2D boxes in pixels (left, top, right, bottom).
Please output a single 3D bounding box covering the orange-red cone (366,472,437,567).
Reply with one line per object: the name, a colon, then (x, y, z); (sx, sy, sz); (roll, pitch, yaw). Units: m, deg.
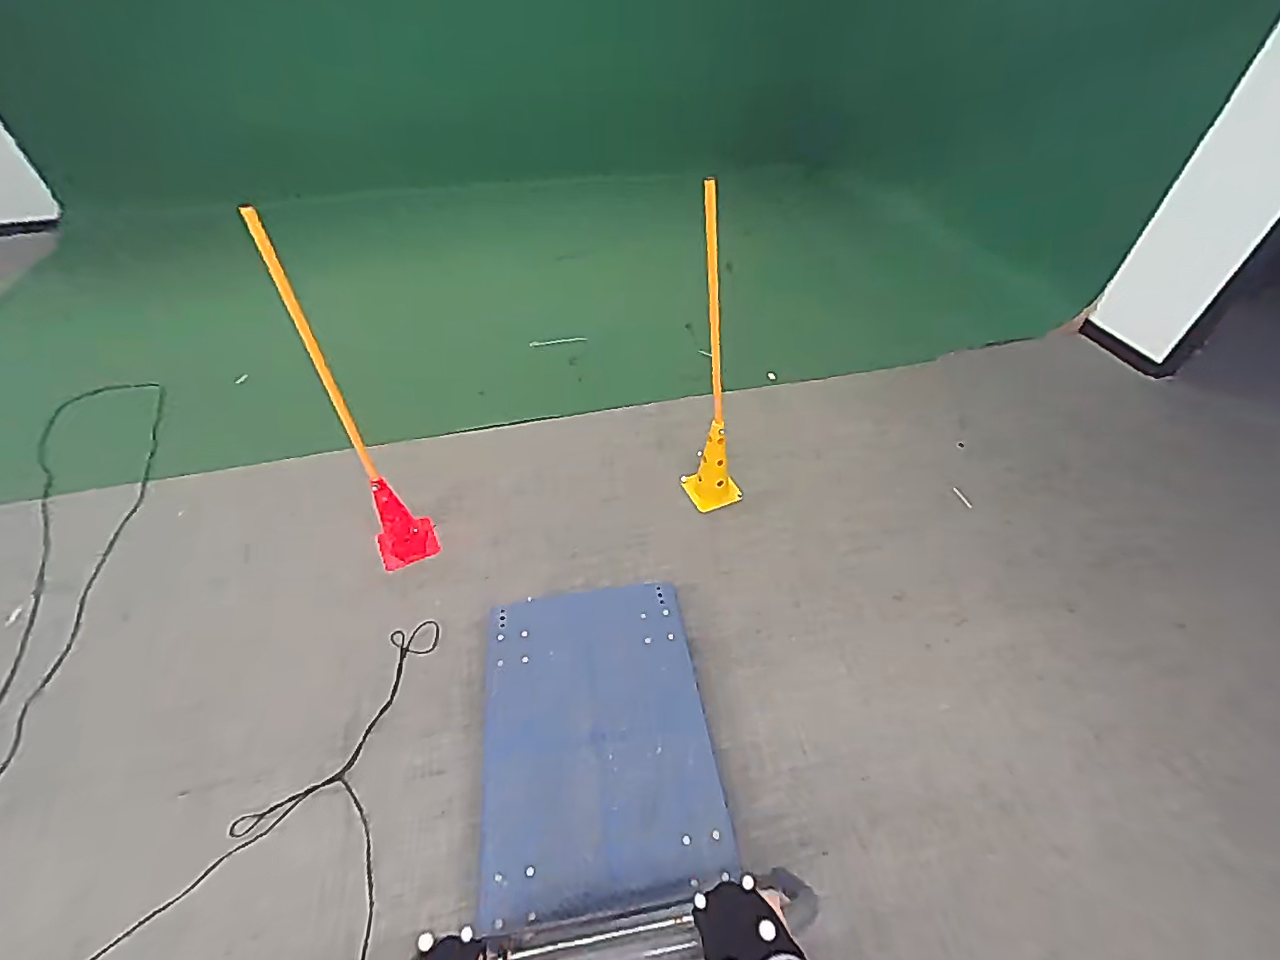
orange-red cone: (-0.872, 0.108, 1.888); (0.199, 0.360, 0.198); (-22, 50, -18)
